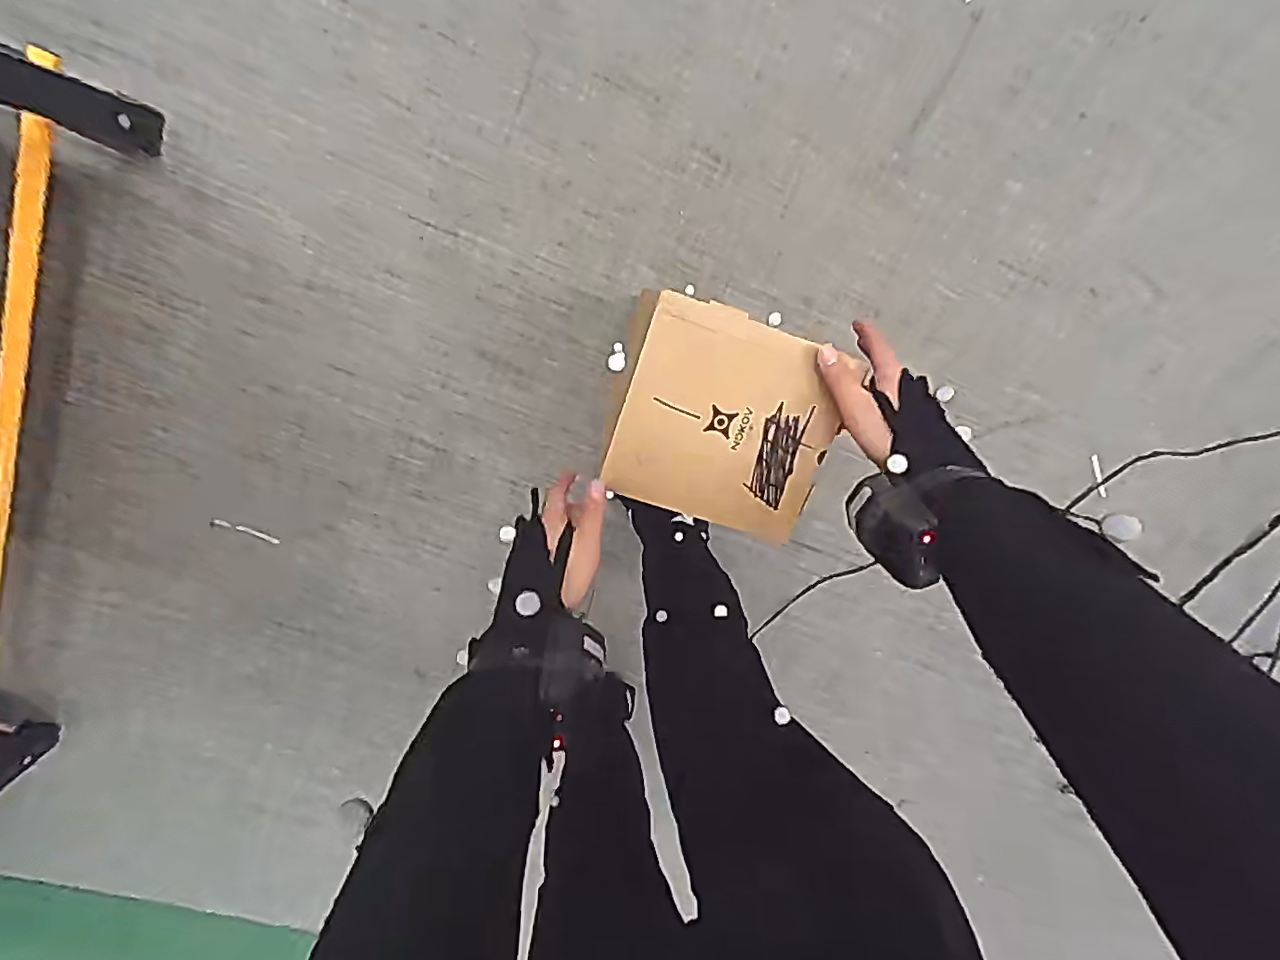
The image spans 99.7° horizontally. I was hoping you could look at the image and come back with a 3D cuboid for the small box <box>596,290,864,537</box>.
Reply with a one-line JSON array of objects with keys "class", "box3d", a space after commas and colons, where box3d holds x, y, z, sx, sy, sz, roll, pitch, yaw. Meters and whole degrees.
[{"class": "small box", "box3d": [0.067, -0.073, 0.511, 0.179, 0.176, 0.168, 17, 108, -8]}]
